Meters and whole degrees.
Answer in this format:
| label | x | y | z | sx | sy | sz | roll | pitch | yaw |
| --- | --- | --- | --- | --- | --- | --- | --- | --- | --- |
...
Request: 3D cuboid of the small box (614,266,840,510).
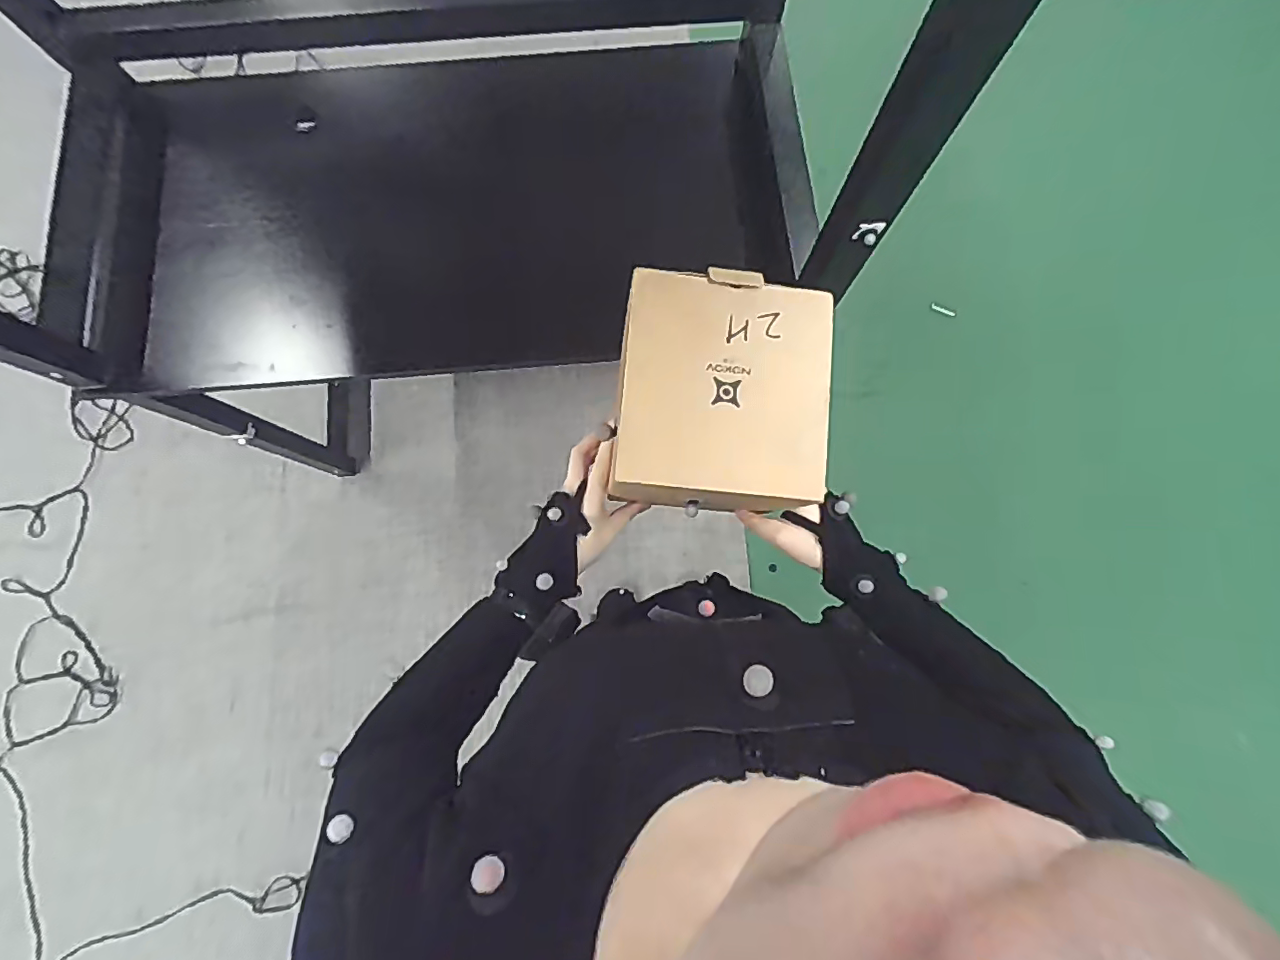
| label | x | y | z | sx | sy | sz | roll | pitch | yaw |
| --- | --- | --- | --- | --- | --- | --- | --- | --- | --- |
| small box | 0.066 | -0.067 | 0.502 | 0.168 | 0.176 | 0.179 | 6 | 83 | -5 |
